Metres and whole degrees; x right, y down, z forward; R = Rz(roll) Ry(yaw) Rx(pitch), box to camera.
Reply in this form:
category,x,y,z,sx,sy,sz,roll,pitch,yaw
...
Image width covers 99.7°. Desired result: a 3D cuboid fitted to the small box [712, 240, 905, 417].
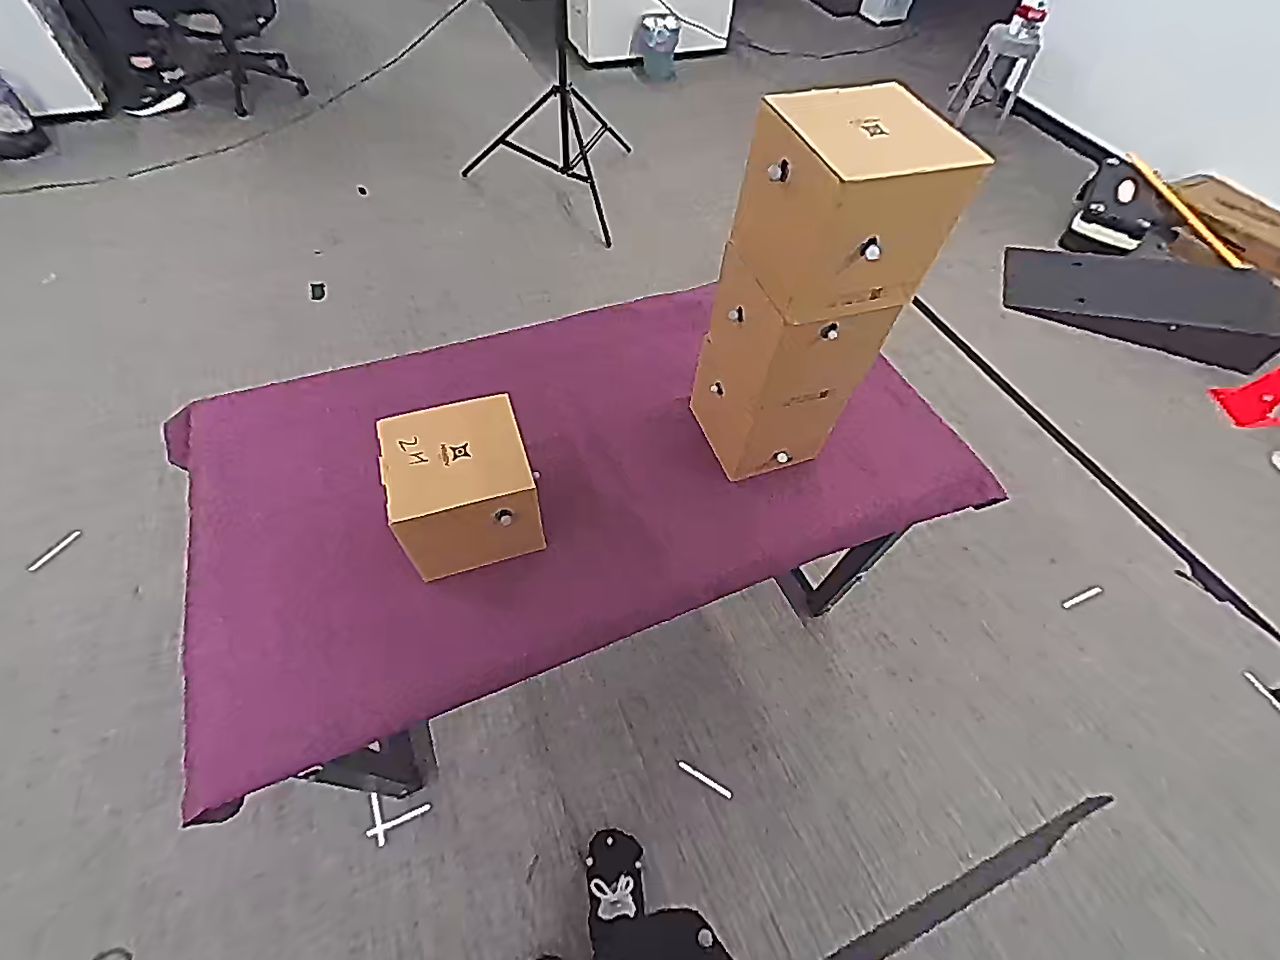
category,x,y,z,sx,sy,sz,roll,pitch,yaw
small box,0.212,-0.215,0.741,0.168,0.176,0.179,-14,58,-12

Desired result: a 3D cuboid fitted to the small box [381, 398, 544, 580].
category,x,y,z,sx,sy,sz,roll,pitch,yaw
small box,-0.237,0.015,0.753,0.179,0.176,0.168,-15,58,-13

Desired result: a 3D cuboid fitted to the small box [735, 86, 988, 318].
category,x,y,z,sx,sy,sz,roll,pitch,yaw
small box,0.224,-0.300,0.602,0.168,0.176,0.179,-14,58,-12

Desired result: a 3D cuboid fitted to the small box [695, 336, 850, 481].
category,x,y,z,sx,sy,sz,roll,pitch,yaw
small box,0.201,-0.127,0.879,0.168,0.176,0.179,-16,59,-13
